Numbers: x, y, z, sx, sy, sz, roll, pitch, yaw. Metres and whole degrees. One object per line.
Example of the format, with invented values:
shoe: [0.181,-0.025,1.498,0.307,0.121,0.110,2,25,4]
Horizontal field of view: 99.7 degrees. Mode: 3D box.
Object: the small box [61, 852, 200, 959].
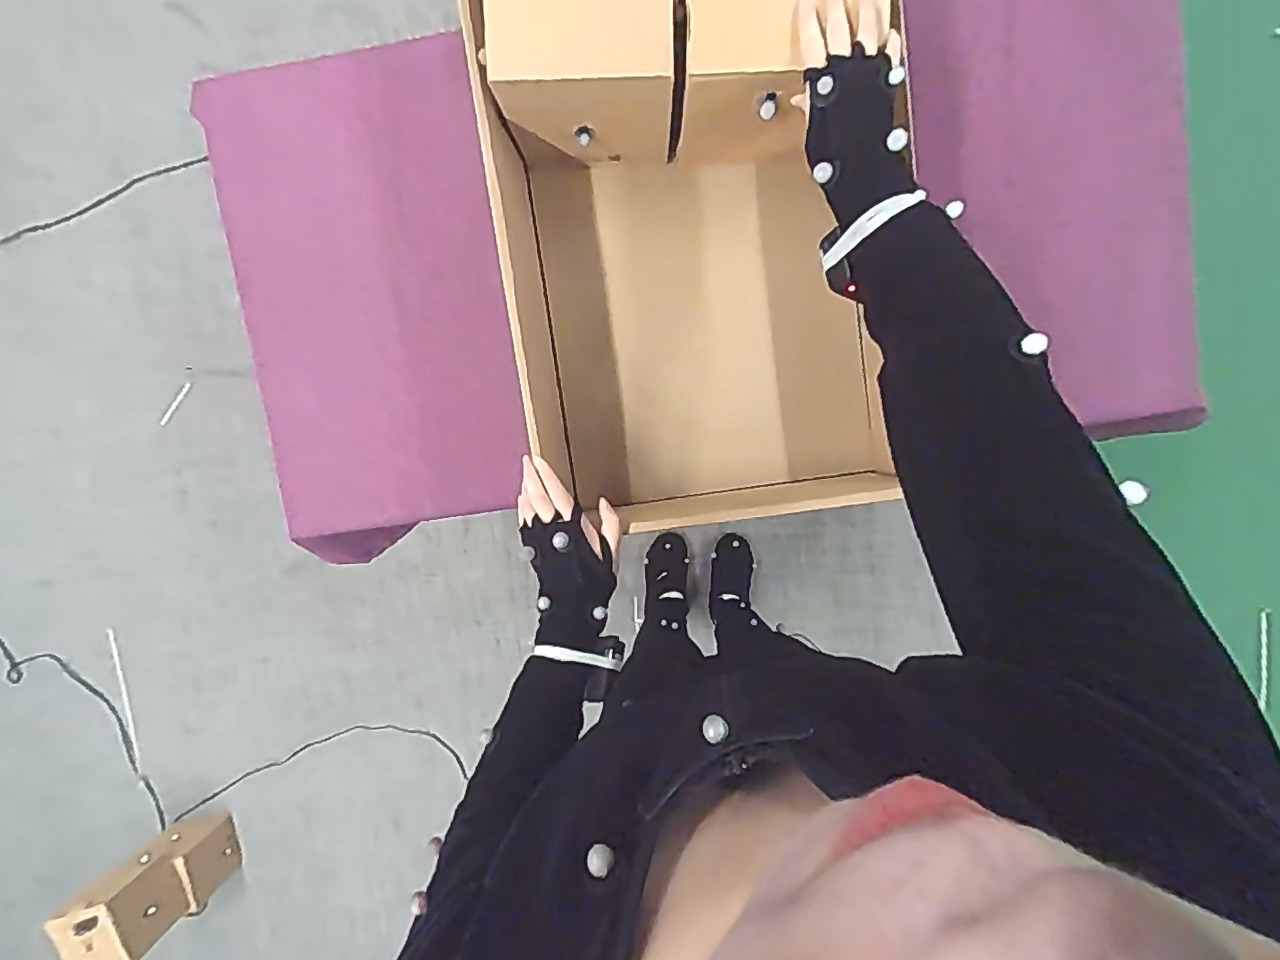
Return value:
small box: [-1.307,1.105,1.399,0.168,0.176,0.179,-18,95,5]
